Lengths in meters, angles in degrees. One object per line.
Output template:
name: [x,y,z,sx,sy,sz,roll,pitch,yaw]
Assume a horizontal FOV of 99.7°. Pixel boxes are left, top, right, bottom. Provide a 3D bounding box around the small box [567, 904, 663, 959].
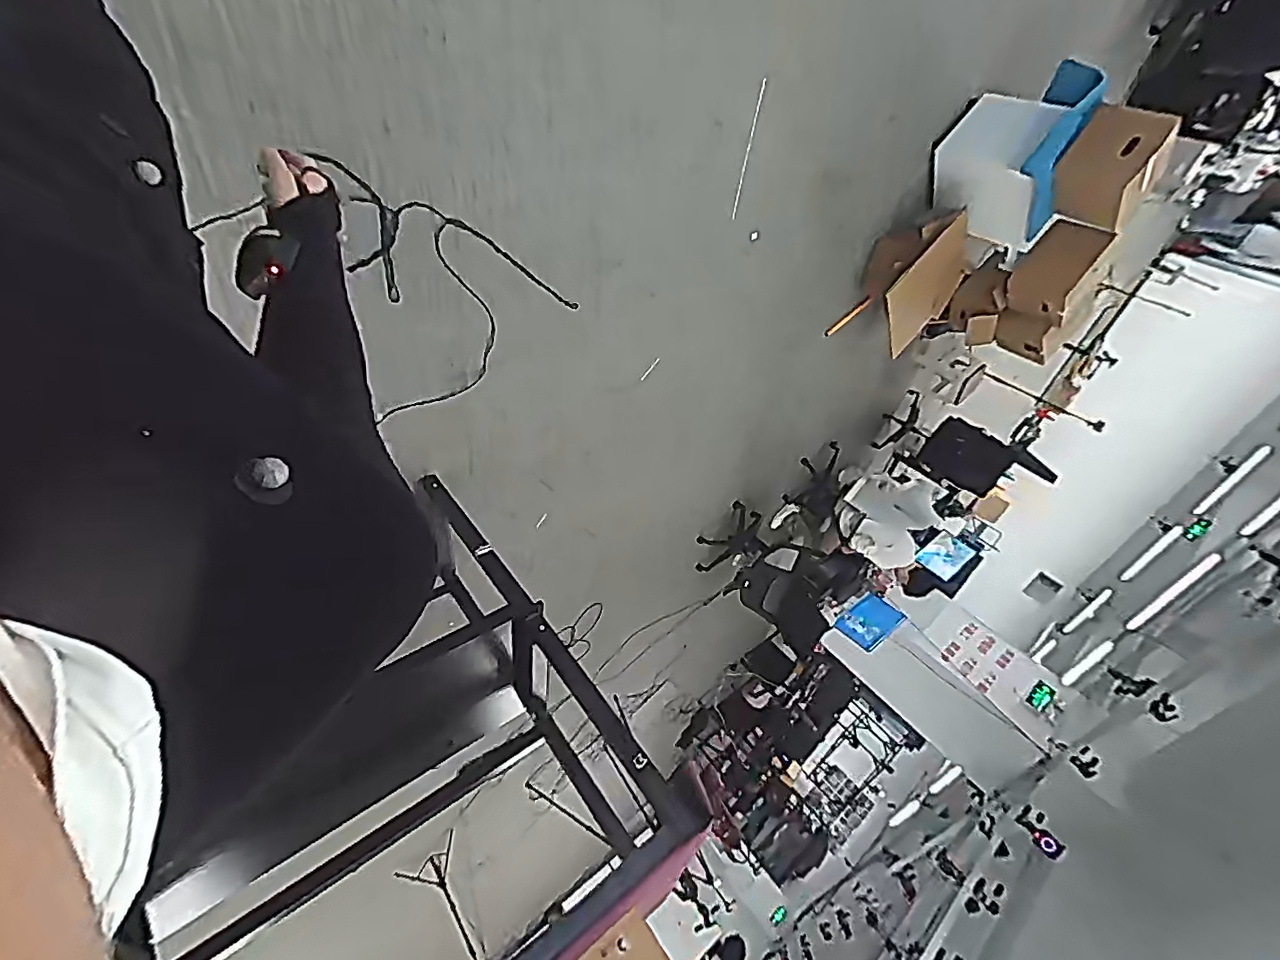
small box: [-0.051,1.037,1.125,0.168,0.176,0.179,-21,140,-37]
